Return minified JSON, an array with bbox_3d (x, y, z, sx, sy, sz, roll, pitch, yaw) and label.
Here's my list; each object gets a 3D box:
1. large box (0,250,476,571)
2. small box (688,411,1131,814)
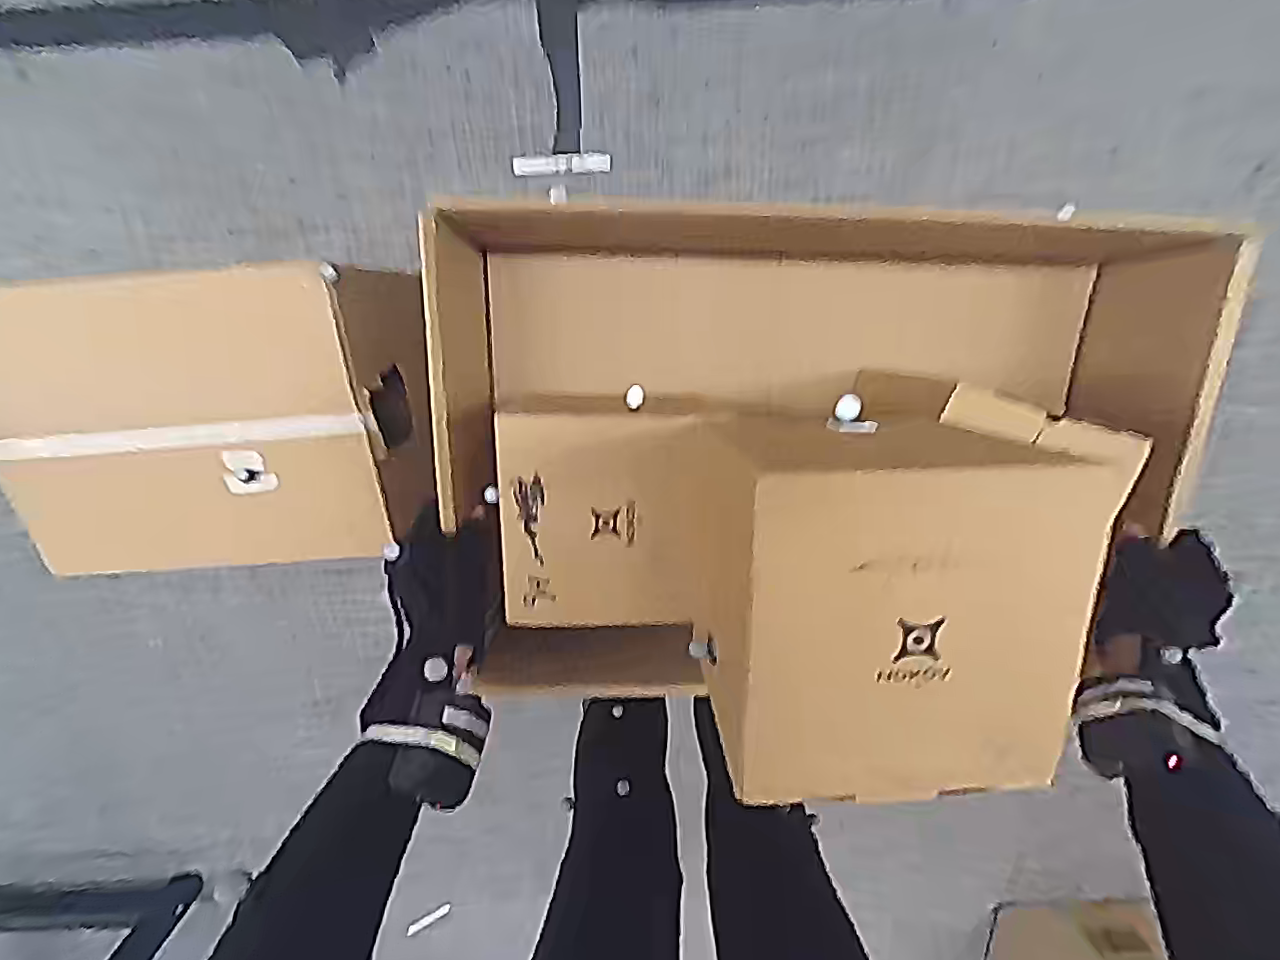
[{"bbox_3d":[-0.477,-0.104,0.711,0.408,0.320,0.320,-5,110,1],"label":"large box"},{"bbox_3d":[0.122,0.057,0.322,0.168,0.176,0.179,-2,104,-3],"label":"small box"}]
